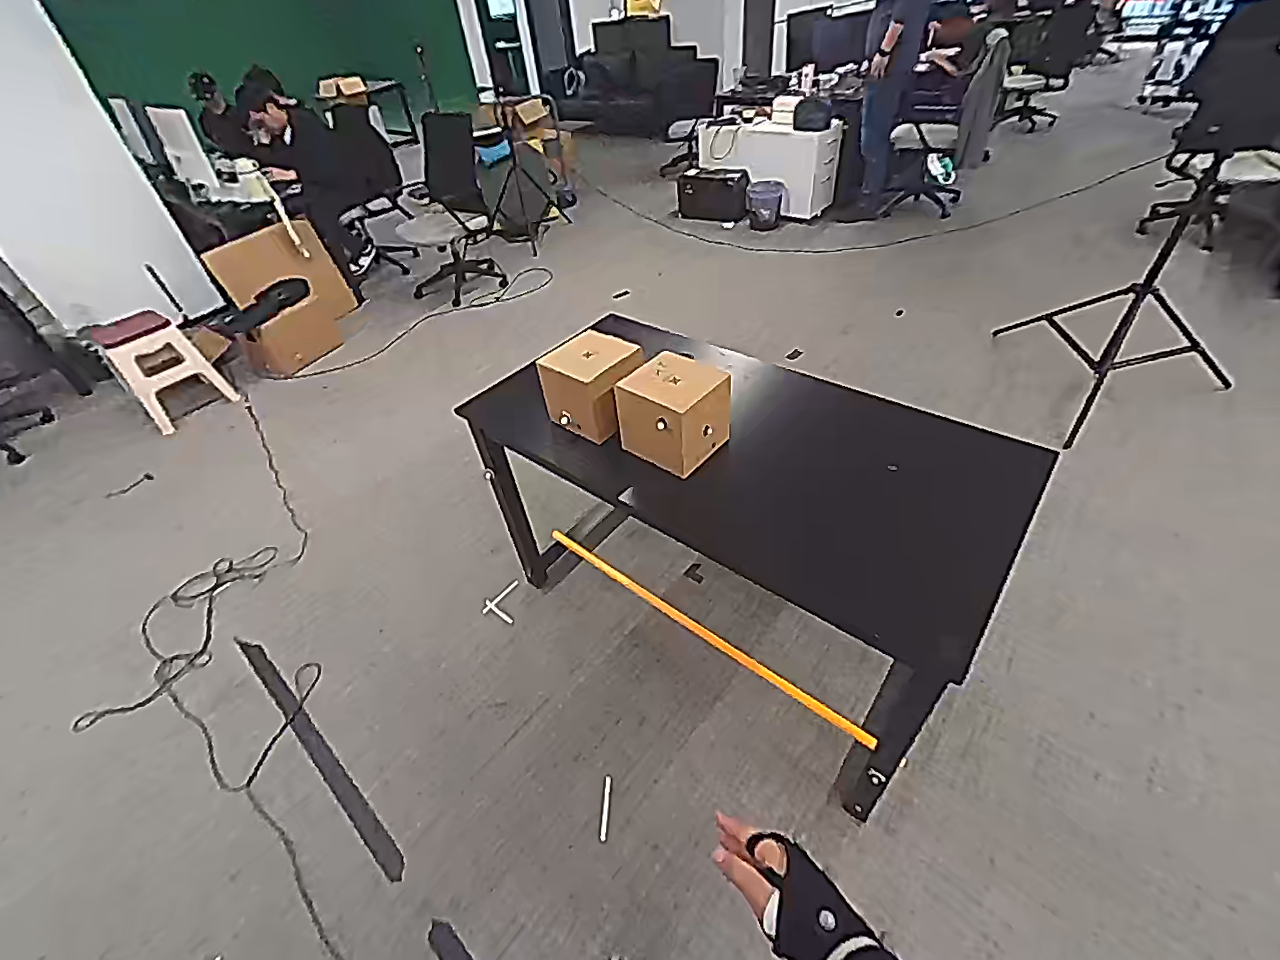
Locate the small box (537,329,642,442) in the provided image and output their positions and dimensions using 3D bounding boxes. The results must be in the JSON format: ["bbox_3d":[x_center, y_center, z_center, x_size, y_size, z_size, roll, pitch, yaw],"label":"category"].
[{"bbox_3d":[-0.106,-0.217,1.240,0.168,0.176,0.179,25,52,32],"label":"small box"}]

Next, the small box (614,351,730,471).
[{"bbox_3d":[0.071,-0.141,1.133,0.179,0.176,0.168,28,52,32],"label":"small box"}]
